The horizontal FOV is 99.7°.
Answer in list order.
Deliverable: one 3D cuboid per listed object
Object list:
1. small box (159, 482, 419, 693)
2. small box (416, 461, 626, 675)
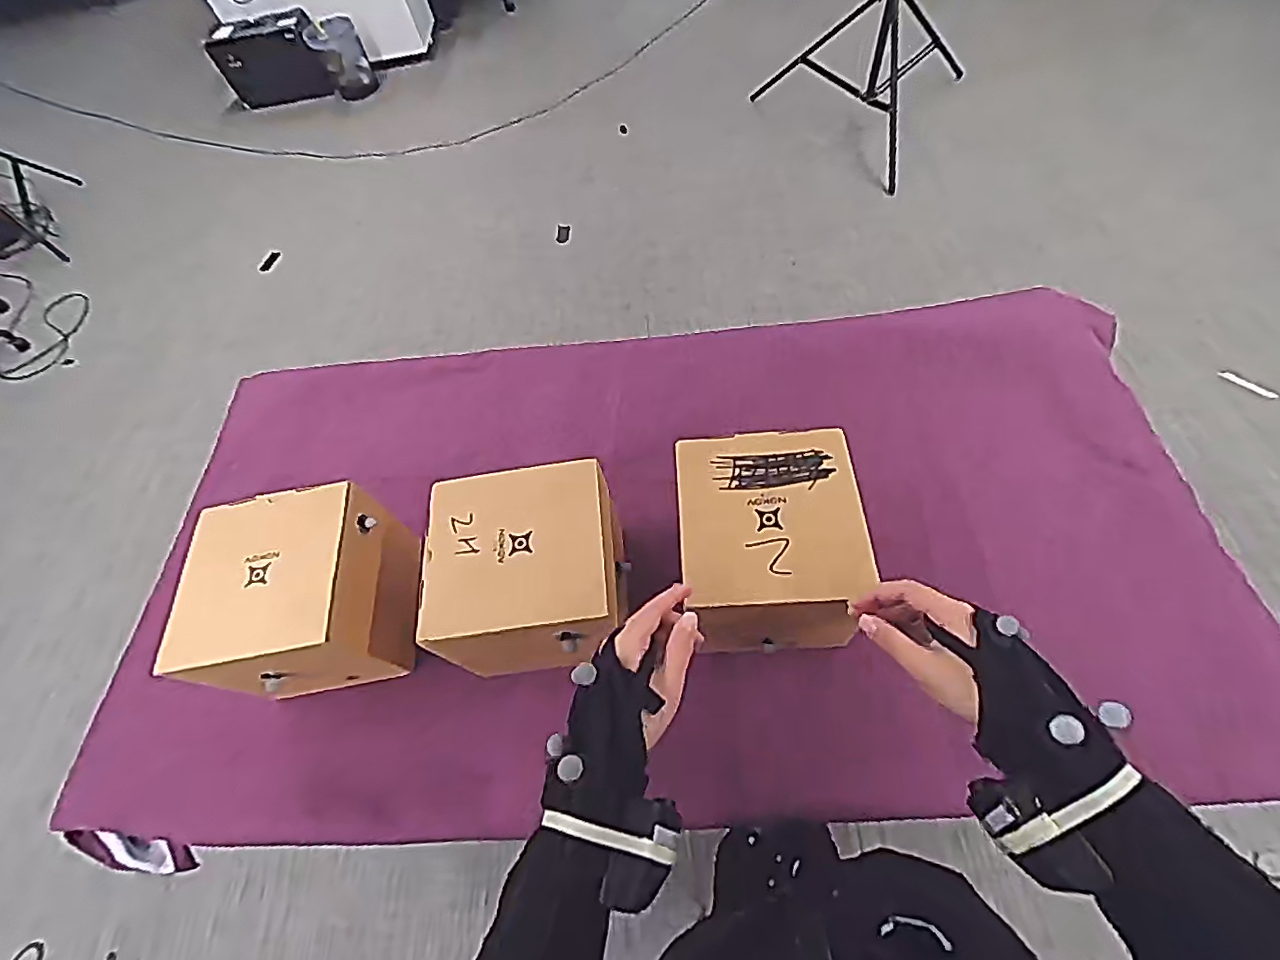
[{"bbox_3d":[-0.365,0.130,0.605,0.168,0.176,0.179,-11,59,2],"label":"small box"},{"bbox_3d":[-0.112,0.101,0.581,0.179,0.176,0.168,-9,58,2],"label":"small box"}]
